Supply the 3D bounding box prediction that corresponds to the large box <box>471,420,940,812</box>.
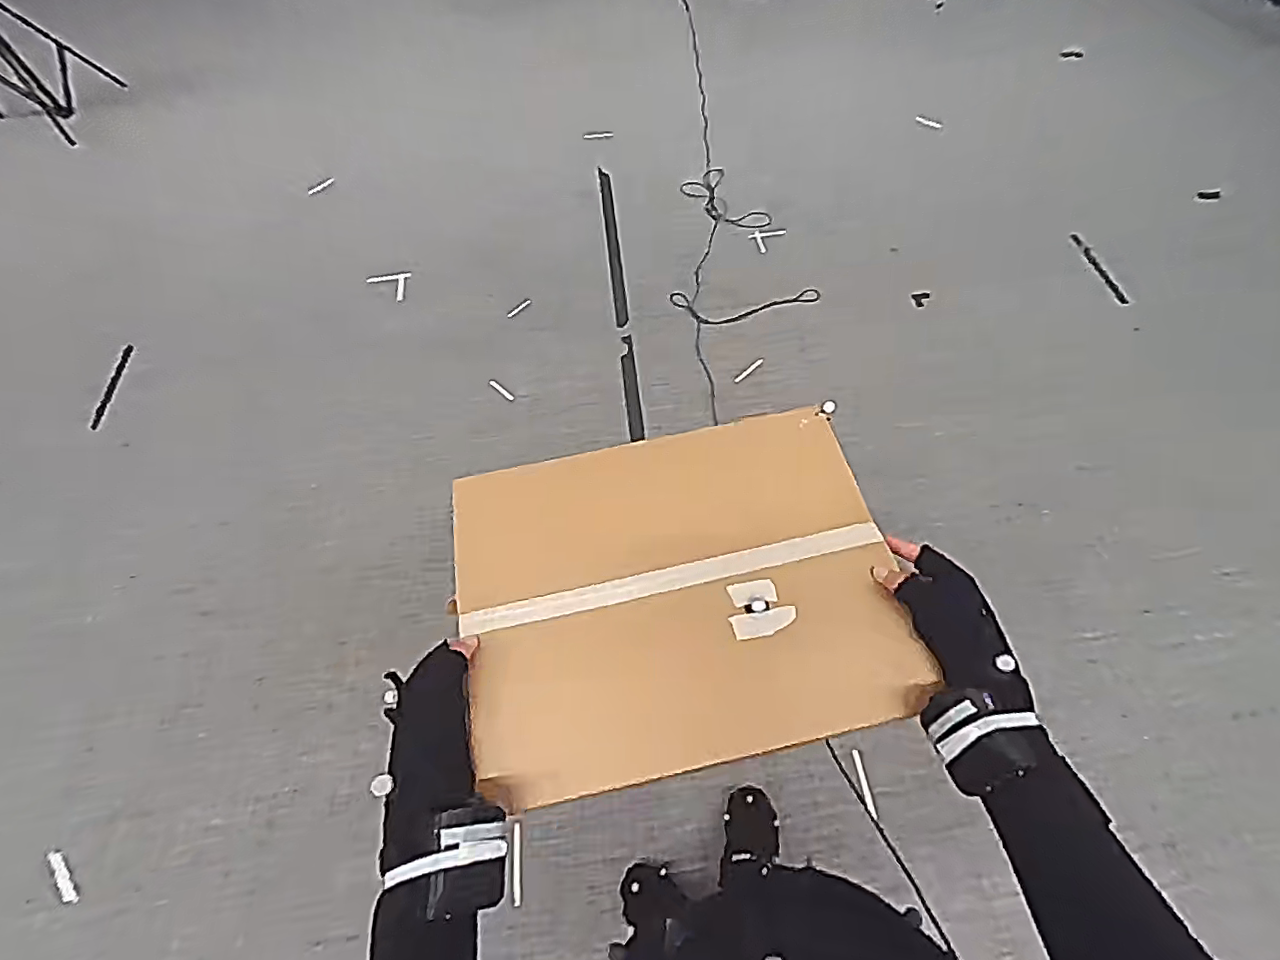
[{"bbox_3d":[0.046,0.174,0.660,0.408,0.320,0.320,-12,63,-4],"label":"large box"}]
